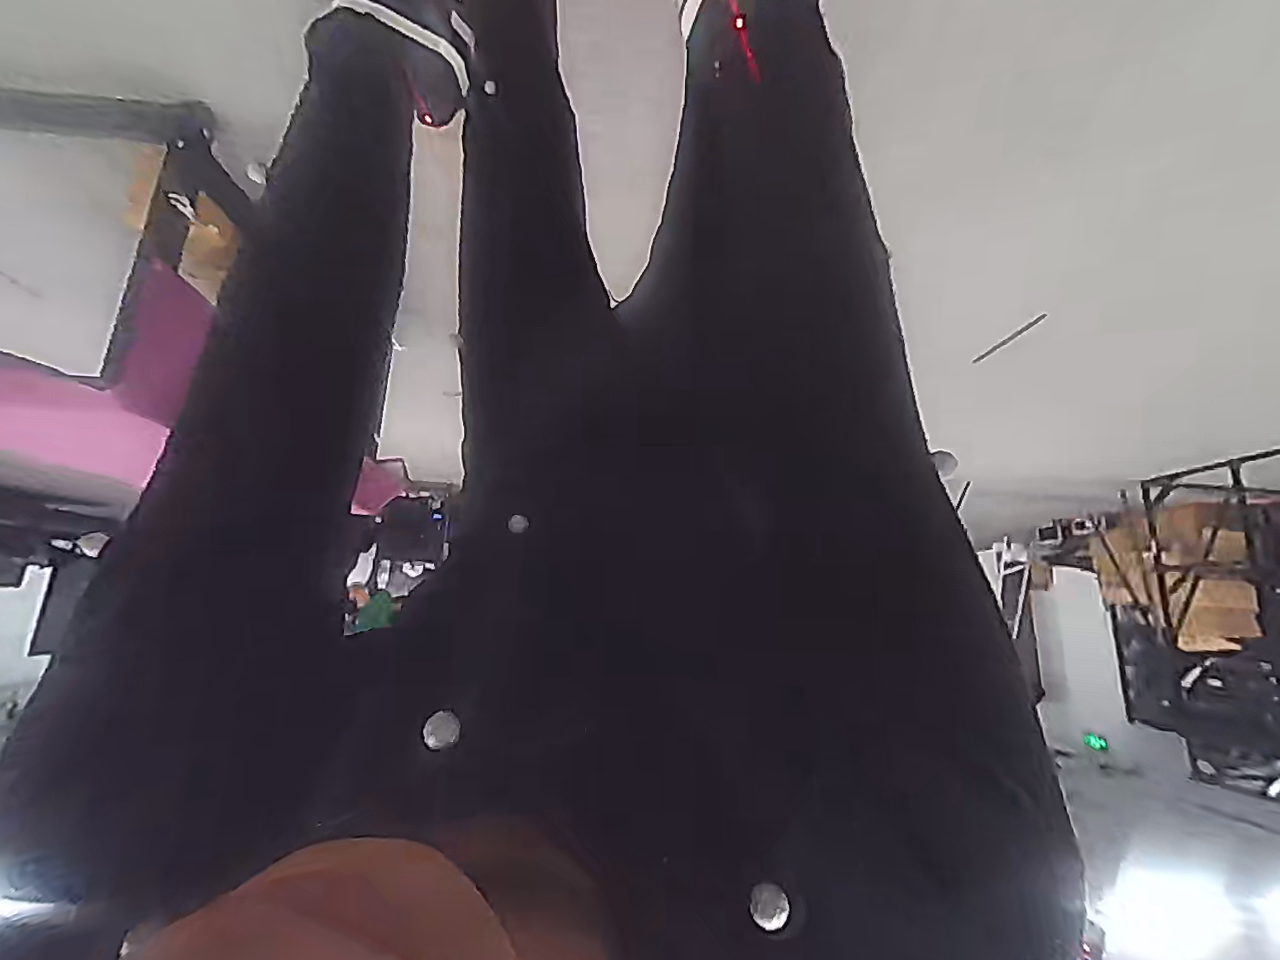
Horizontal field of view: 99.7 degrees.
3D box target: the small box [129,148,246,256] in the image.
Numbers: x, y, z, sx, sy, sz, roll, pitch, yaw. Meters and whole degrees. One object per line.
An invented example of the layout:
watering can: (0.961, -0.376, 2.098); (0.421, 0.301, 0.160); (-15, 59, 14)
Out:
small box: (-1.177, -0.724, 1.419); (0.179, 0.176, 0.168); (-3, 166, 24)
